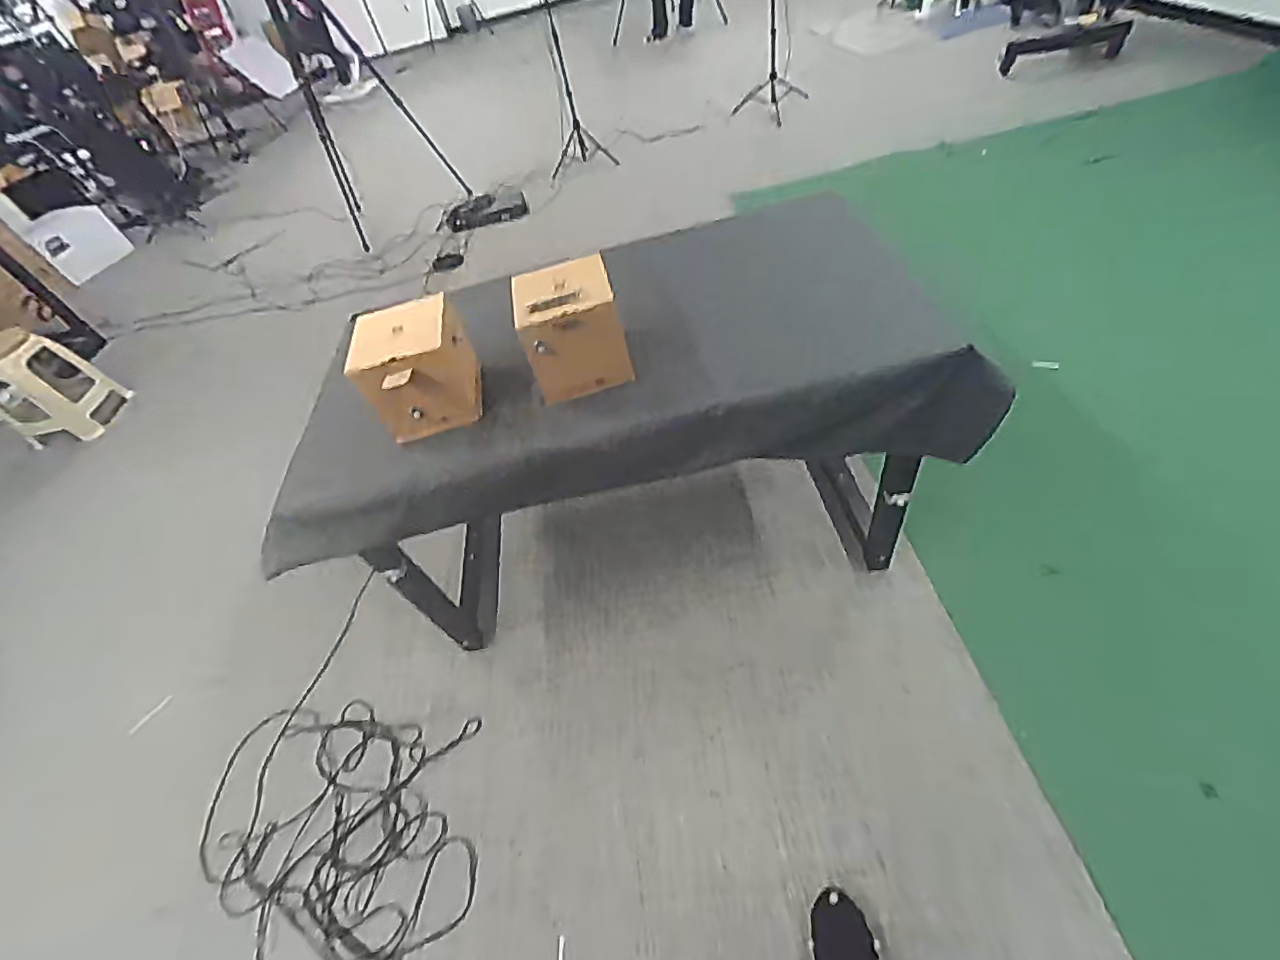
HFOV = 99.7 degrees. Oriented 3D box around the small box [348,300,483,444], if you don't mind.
[{"bbox_3d":[-0.396,-0.195,0.987,0.168,0.176,0.179,-16,49,-1],"label":"small box"}]
